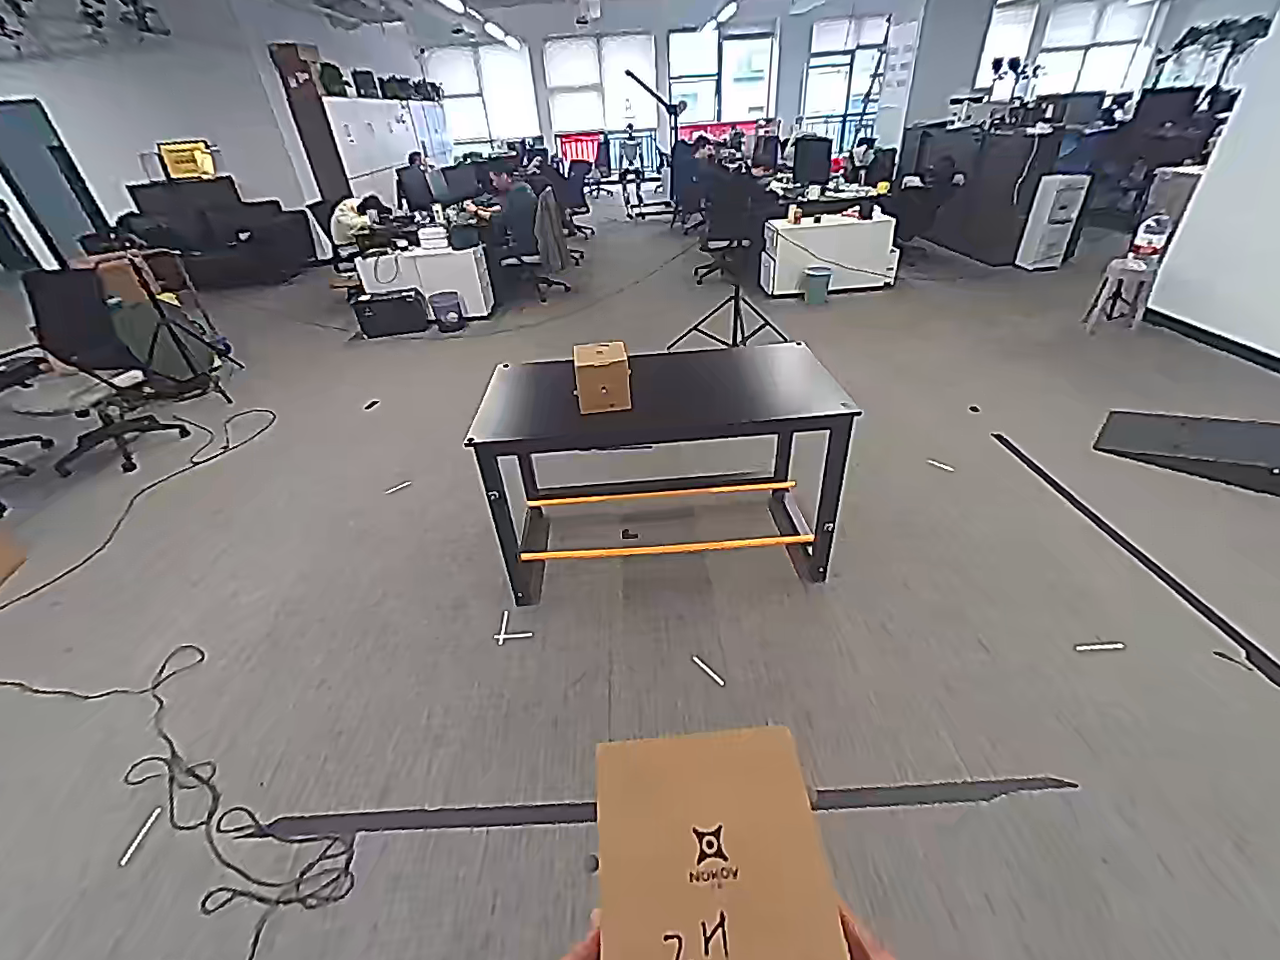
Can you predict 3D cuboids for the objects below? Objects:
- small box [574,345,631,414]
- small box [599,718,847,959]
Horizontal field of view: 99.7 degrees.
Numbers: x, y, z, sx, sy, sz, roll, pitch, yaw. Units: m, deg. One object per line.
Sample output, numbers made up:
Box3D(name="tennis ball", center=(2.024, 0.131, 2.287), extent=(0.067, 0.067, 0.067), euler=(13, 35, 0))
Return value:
Box3D(name="small box", center=(-0.123, -0.326, 1.778), extent=(0.168, 0.176, 0.179), euler=(-7, 35, -3))
Box3D(name="small box", center=(0.054, 0.329, 0.461), extent=(0.168, 0.176, 0.179), euler=(-5, 45, -1))
